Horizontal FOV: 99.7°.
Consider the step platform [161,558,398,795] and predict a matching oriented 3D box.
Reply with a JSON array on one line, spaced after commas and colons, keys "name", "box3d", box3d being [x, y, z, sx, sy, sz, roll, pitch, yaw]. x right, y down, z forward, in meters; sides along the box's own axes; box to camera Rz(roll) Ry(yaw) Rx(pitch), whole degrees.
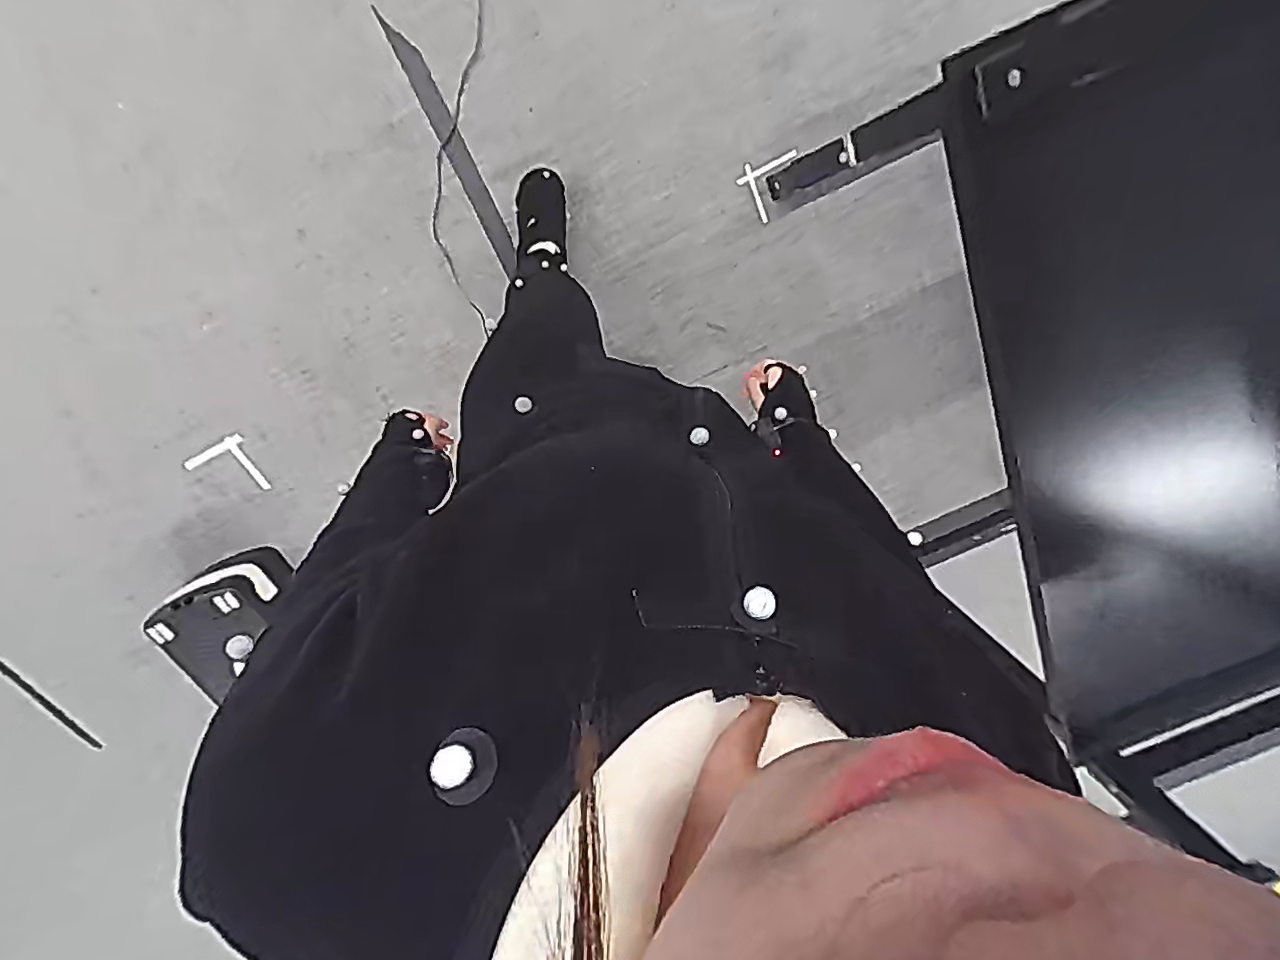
[{"name": "step platform", "box3d": [-0.984, 0.573, 1.532, 0.286, 0.204, 0.684, -19, 112, 2]}]
